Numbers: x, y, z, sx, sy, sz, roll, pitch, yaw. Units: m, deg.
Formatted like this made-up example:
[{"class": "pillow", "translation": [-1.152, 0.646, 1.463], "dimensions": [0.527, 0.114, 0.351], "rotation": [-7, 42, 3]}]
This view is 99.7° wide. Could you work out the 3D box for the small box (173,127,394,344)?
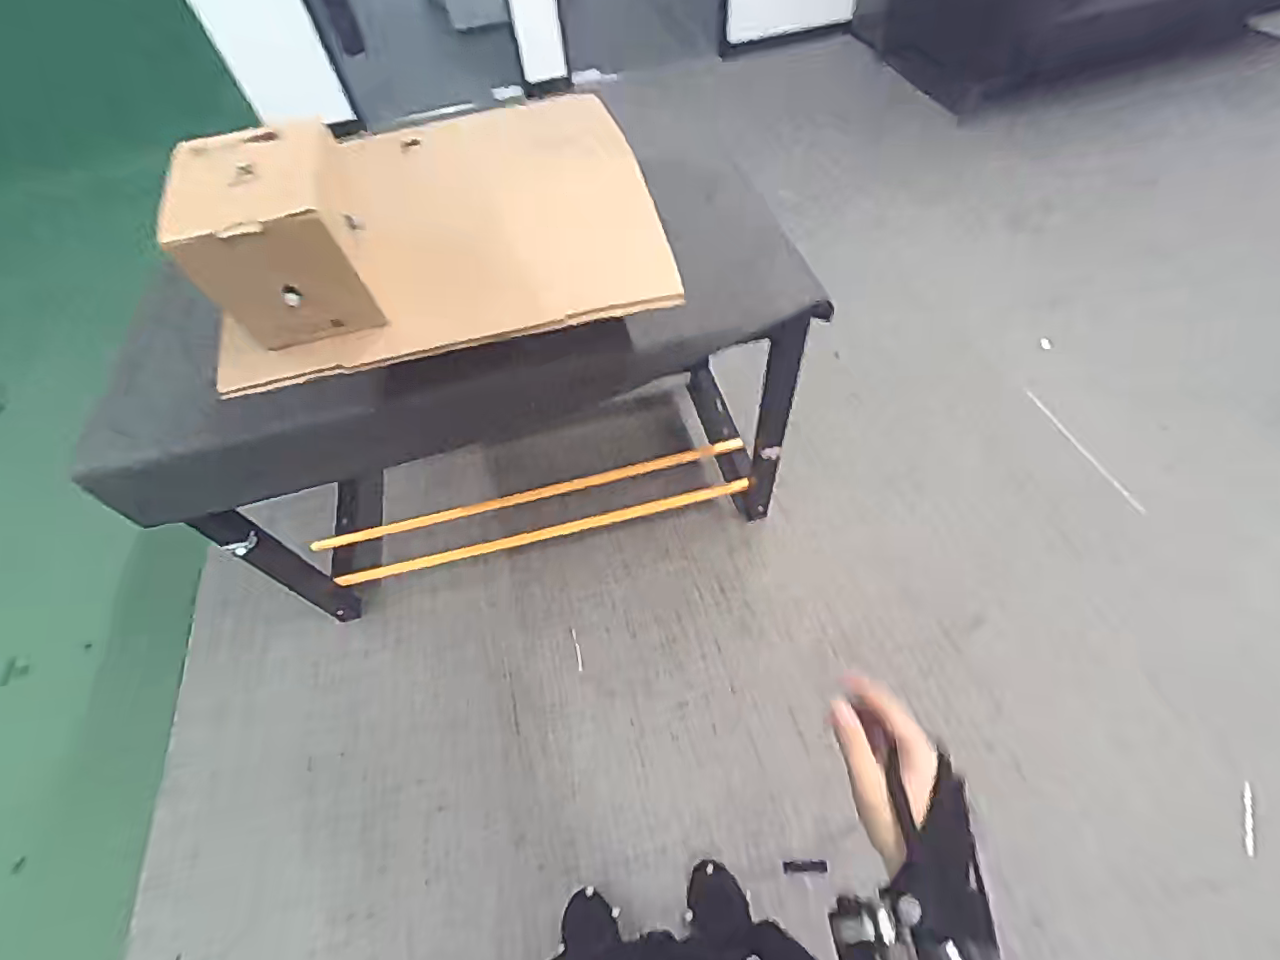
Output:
[{"class": "small box", "translation": [-0.424, -0.291, 0.675], "dimensions": [0.168, 0.176, 0.179], "rotation": [-14, 64, -4]}]
